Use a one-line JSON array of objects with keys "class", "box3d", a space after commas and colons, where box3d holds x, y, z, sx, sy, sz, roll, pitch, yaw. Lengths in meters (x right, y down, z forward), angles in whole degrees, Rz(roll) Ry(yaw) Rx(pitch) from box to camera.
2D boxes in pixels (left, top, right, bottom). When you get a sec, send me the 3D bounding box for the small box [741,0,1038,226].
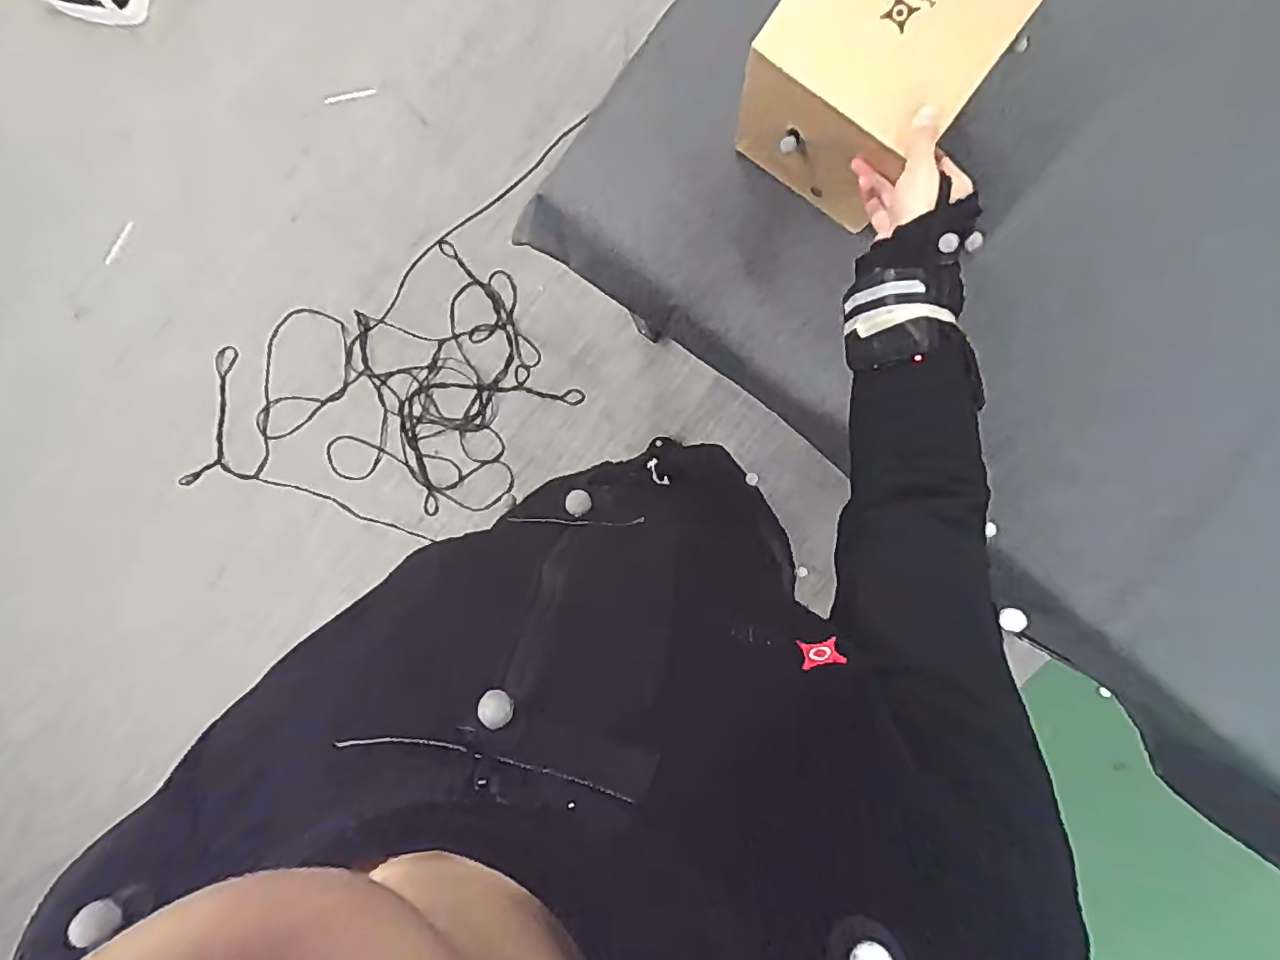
[{"class": "small box", "box3d": [0.207, -0.371, 0.491, 0.168, 0.176, 0.179, 36, 96, 0]}]
